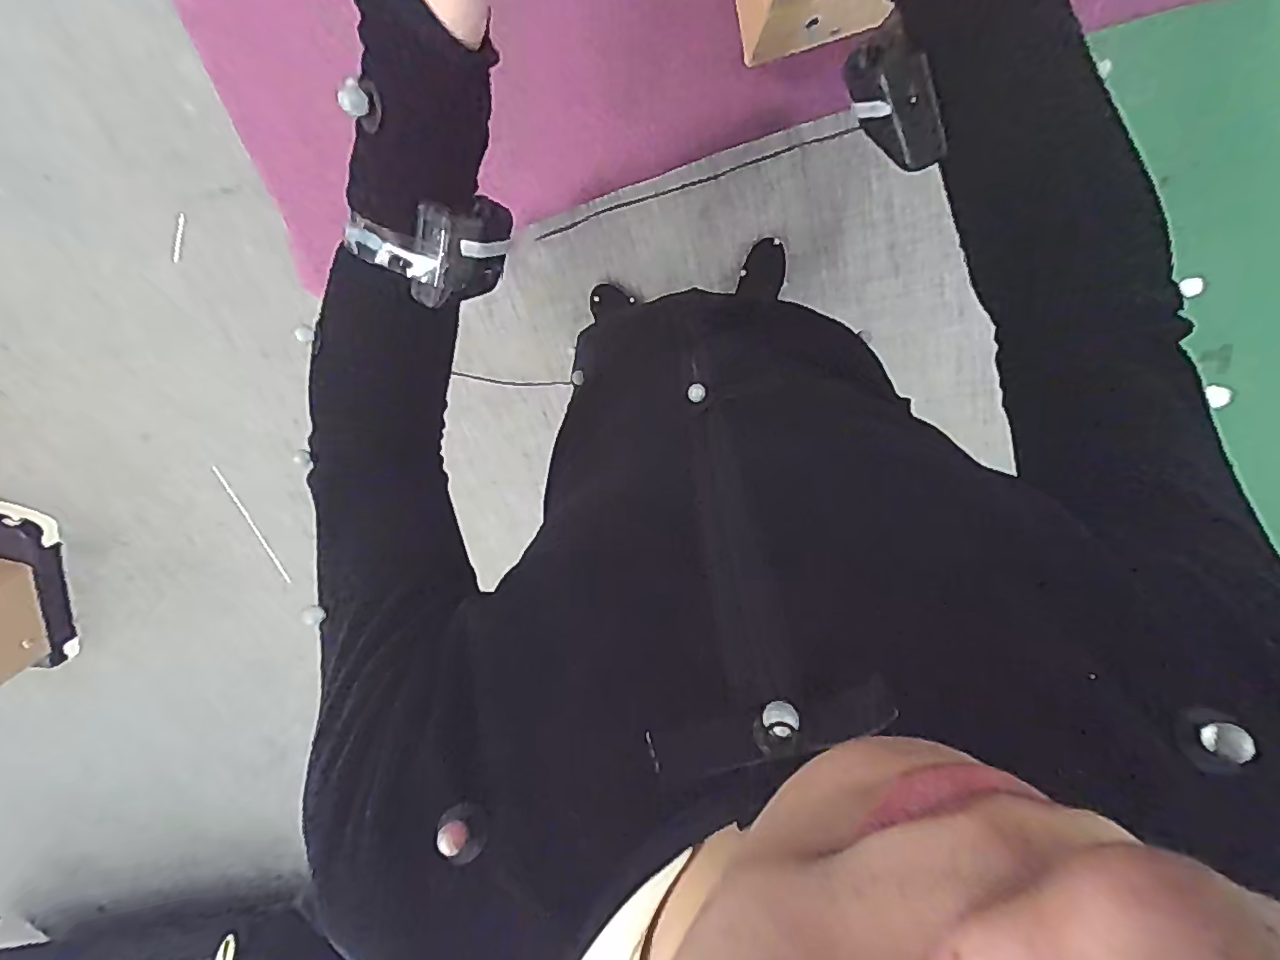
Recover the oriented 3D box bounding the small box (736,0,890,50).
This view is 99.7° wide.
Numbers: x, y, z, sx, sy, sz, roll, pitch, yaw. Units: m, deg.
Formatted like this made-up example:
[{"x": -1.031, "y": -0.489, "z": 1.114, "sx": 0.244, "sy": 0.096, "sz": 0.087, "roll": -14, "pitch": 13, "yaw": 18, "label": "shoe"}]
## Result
[{"x": 0.184, "y": -0.581, "z": 0.555, "sx": 0.168, "sy": 0.176, "sz": 0.179, "roll": -12, "pitch": 111, "yaw": 9, "label": "small box"}]
